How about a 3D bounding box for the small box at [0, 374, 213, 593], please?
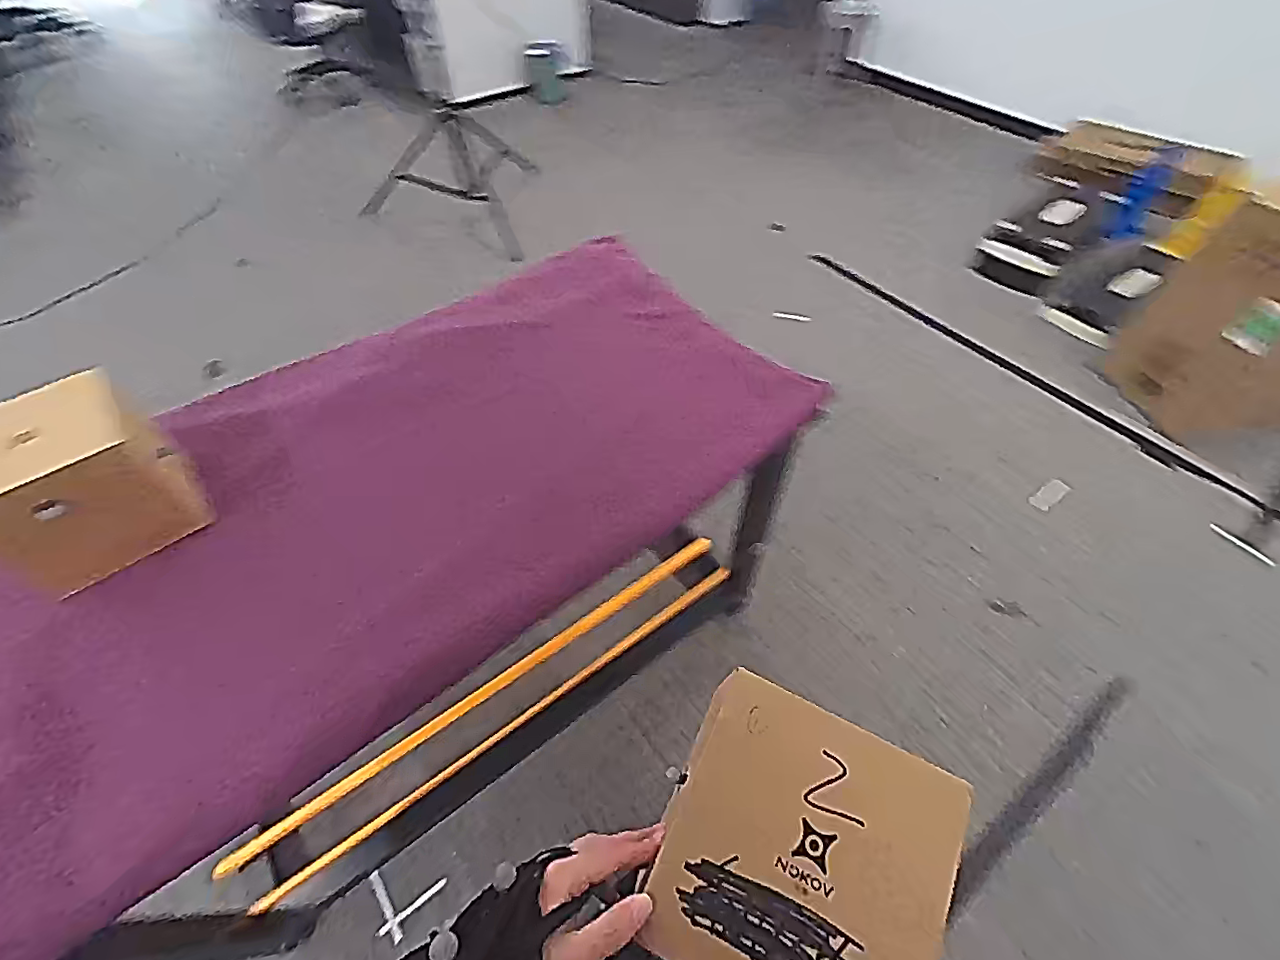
[{"bbox_3d":[-0.683,0.006,0.678,0.179,0.176,0.168,-34,59,-23],"label":"small box"}]
